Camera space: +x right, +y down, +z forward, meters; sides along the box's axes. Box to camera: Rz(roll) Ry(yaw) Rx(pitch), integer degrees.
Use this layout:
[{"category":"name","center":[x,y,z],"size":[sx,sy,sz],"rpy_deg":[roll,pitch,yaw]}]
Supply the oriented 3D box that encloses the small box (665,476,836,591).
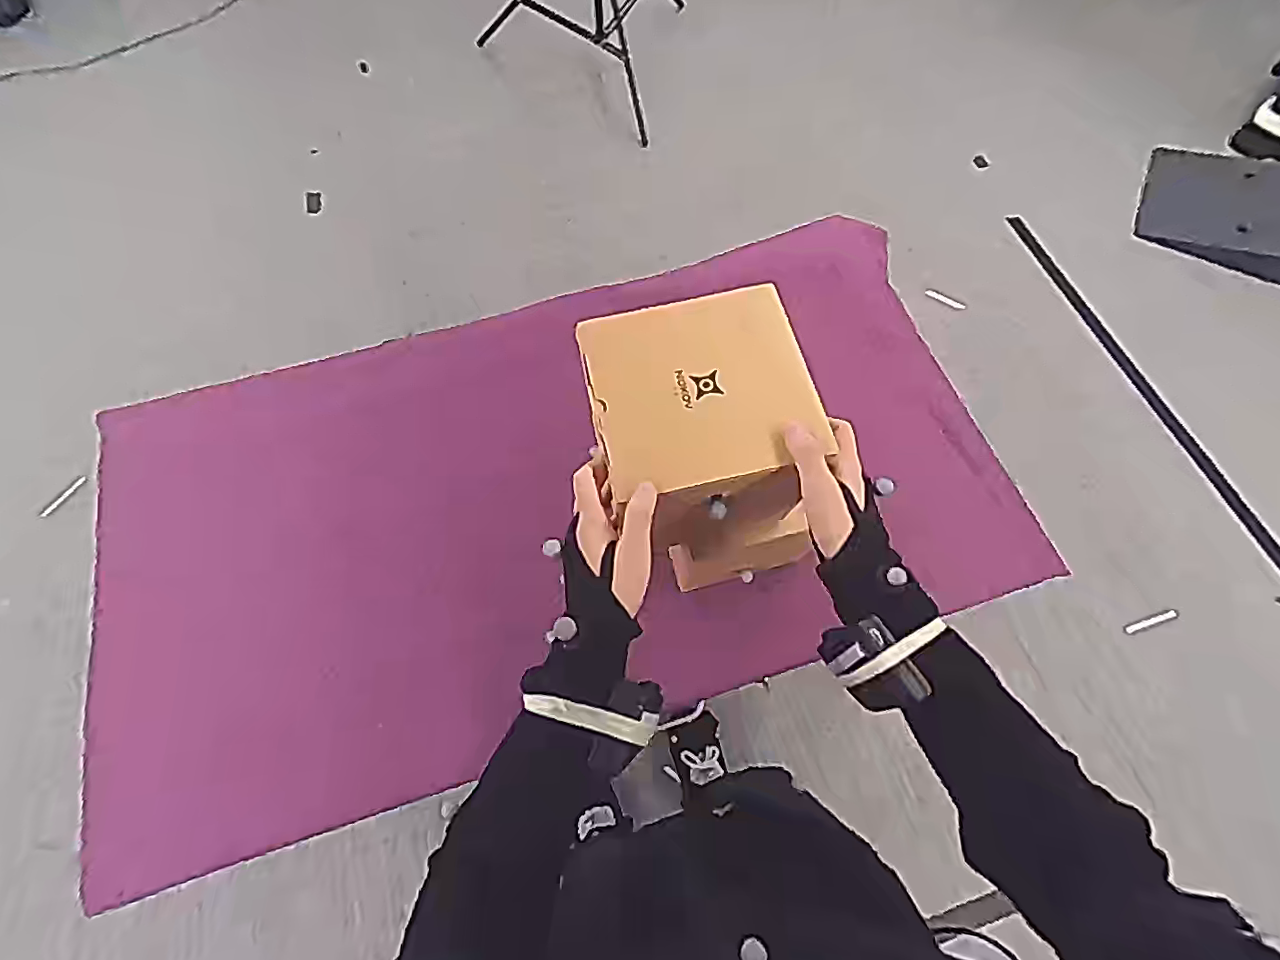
[{"category":"small box","center":[0.107,0.021,0.665],"size":[0.168,0.176,0.179],"rpy_deg":[-14,68,-5]}]

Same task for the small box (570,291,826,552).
[{"category":"small box","center":[0.043,-0.043,0.506],"size":[0.179,0.176,0.168],"rpy_deg":[-13,70,-3]}]
